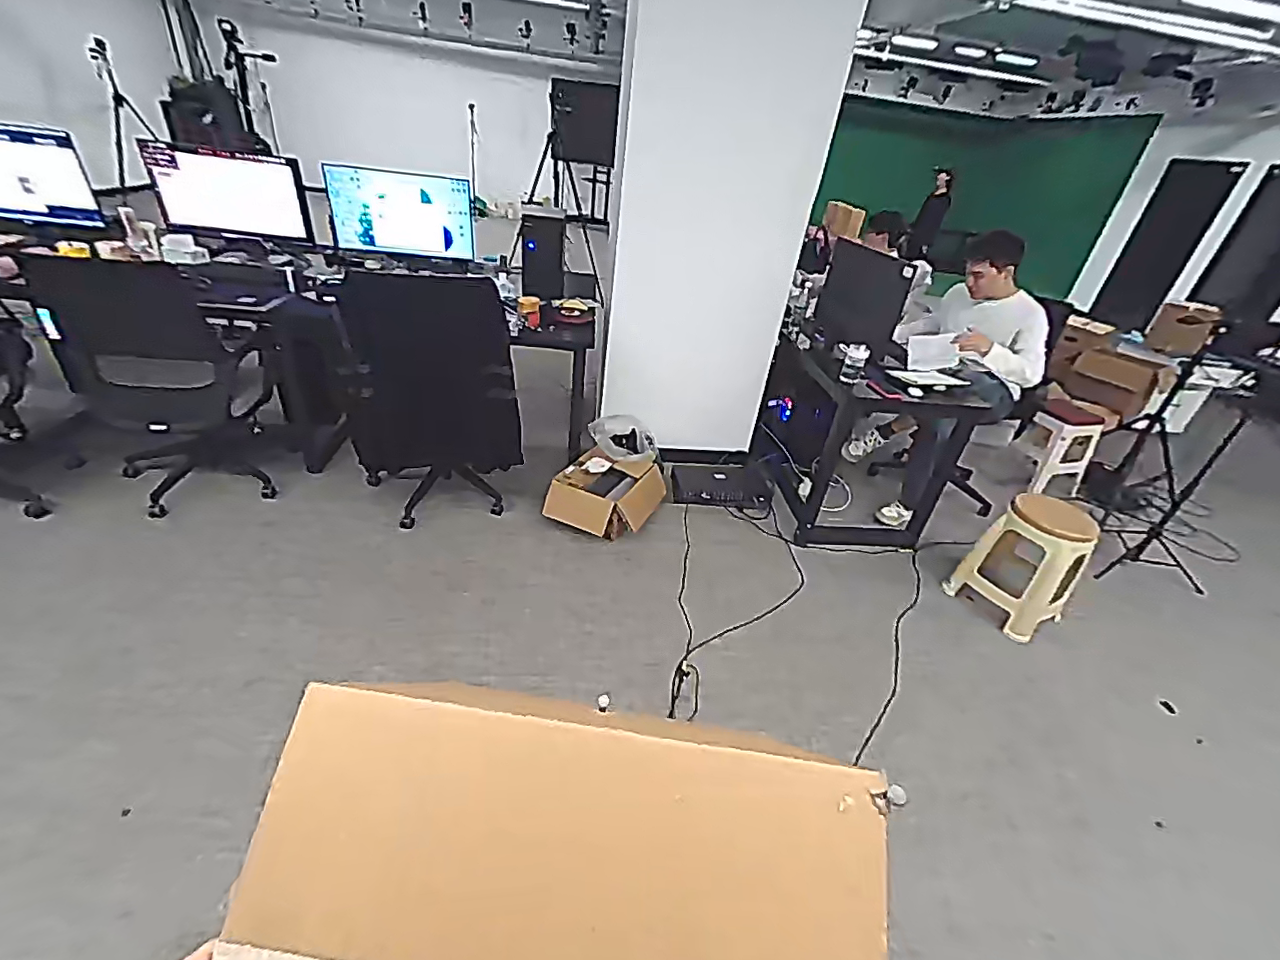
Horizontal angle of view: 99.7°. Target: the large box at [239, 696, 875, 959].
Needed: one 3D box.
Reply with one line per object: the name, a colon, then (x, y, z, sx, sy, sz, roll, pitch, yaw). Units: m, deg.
large box: (-0.061, 0.376, 0.471, 0.408, 0.320, 0.320, 9, 70, 0)
